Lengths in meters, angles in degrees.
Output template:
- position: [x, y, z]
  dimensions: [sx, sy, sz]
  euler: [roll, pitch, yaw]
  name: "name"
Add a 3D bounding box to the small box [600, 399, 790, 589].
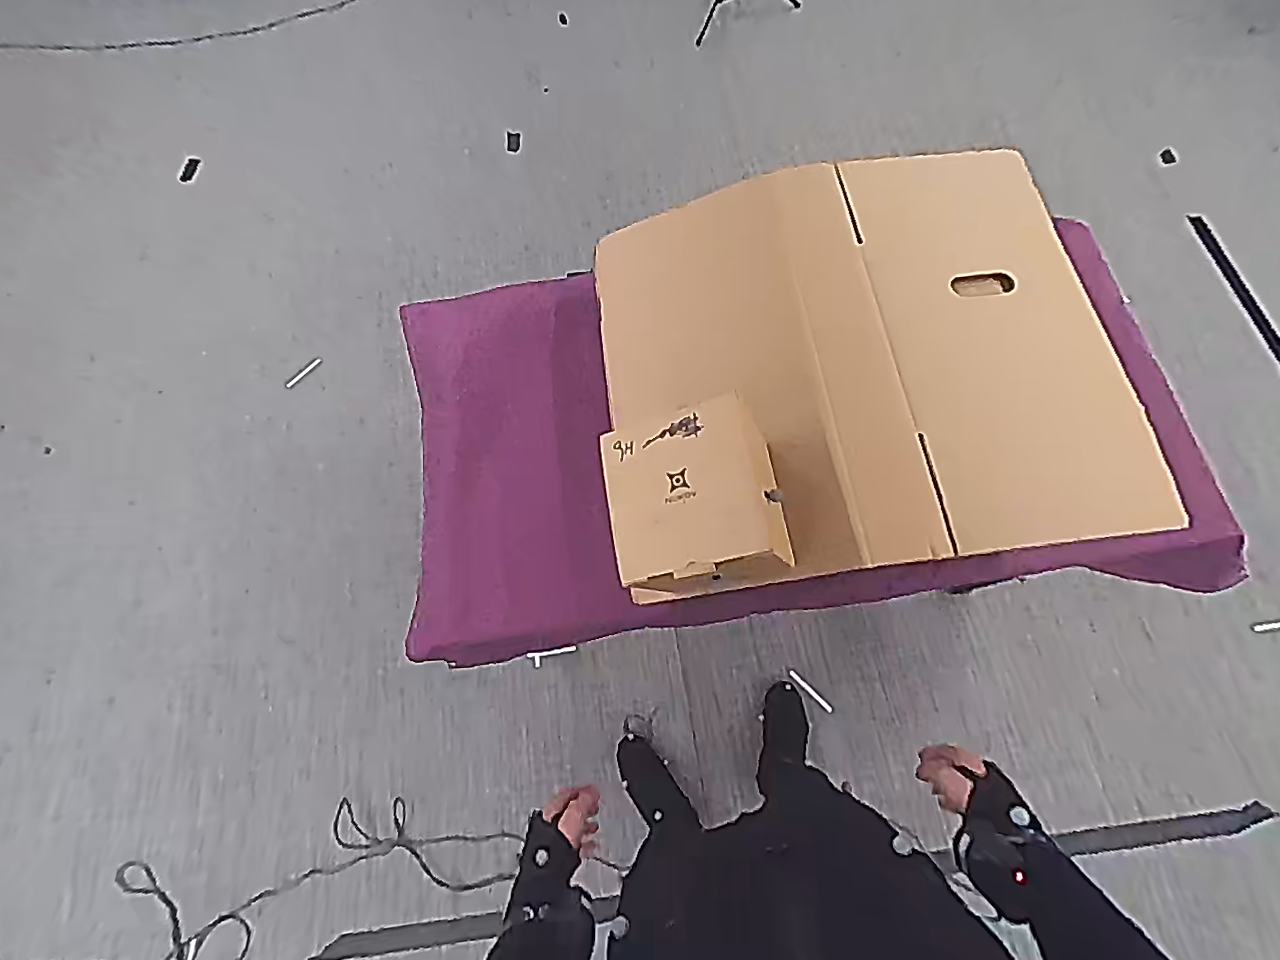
- position: [0.072, 0.031, 0.646]
  dimensions: [0.168, 0.176, 0.179]
  euler: [-16, 71, 19]
  name: "small box"
